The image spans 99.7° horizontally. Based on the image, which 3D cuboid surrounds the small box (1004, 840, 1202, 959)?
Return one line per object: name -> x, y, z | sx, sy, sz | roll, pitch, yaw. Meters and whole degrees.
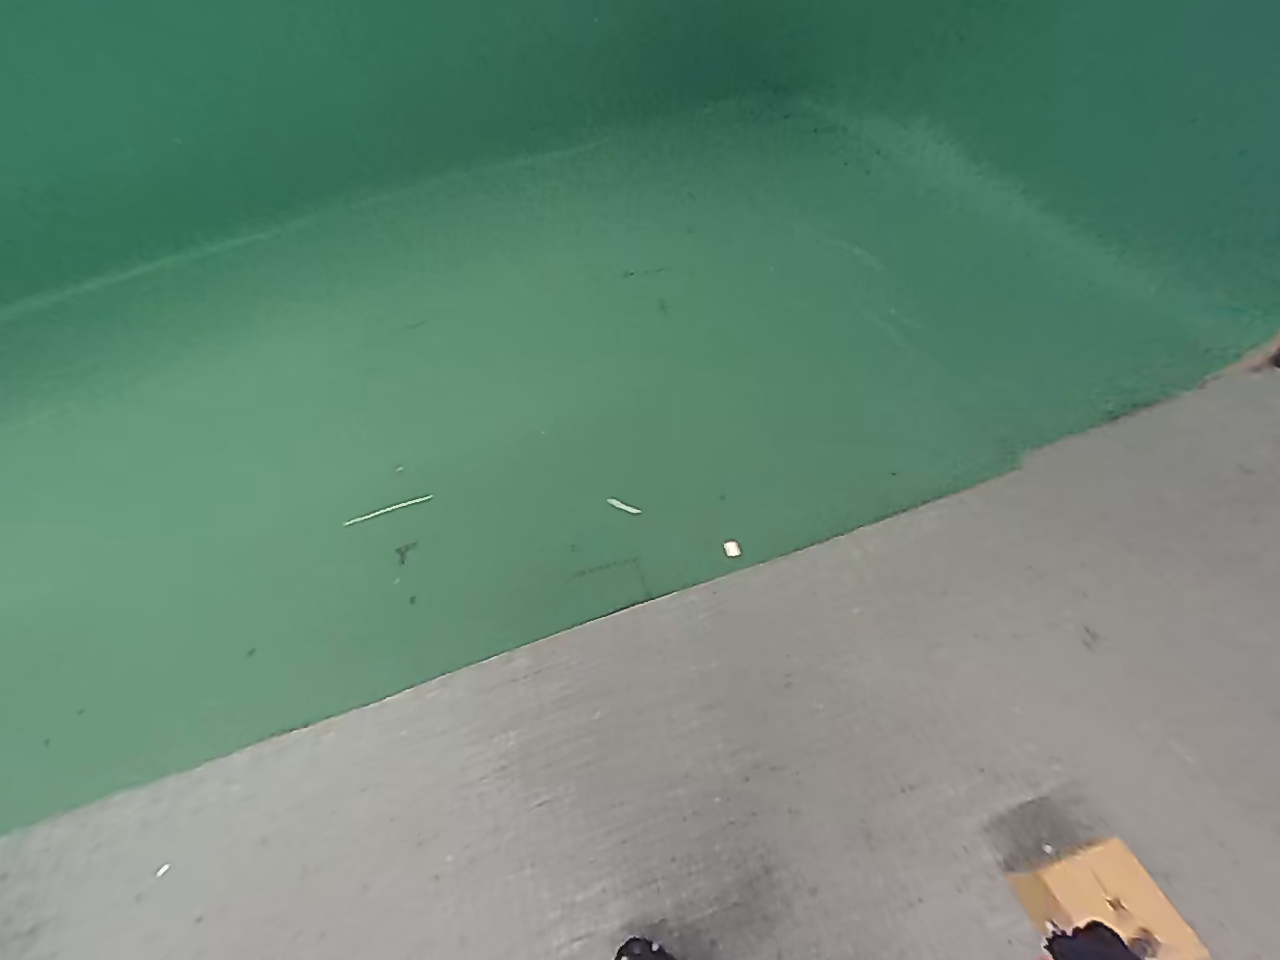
small box -> 0.811, 0.779, 0.971 | 0.168, 0.176, 0.179 | -19, 51, -5
